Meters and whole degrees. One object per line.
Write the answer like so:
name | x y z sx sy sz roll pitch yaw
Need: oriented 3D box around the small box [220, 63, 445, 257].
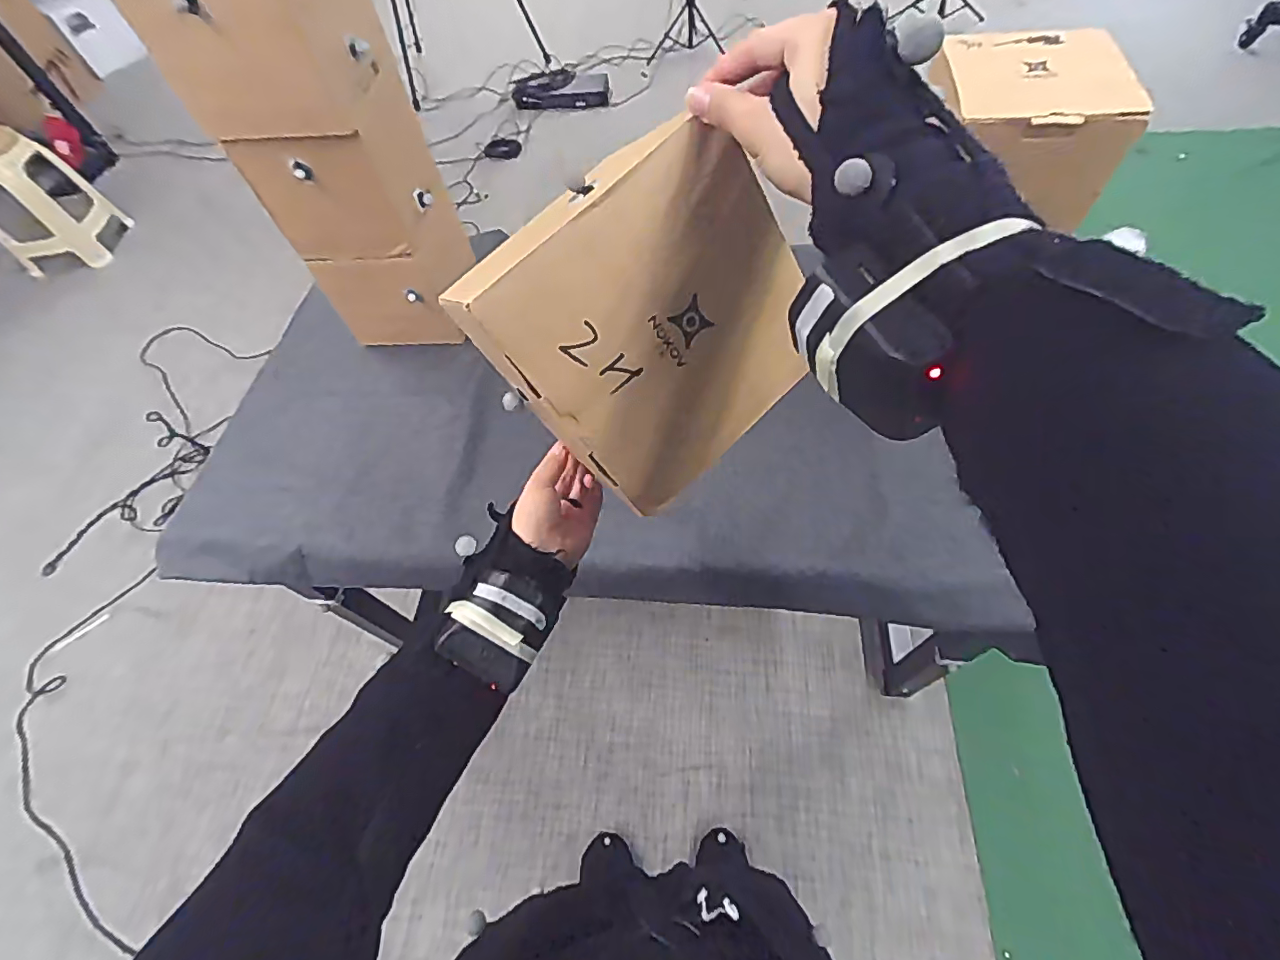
small box | -0.388 -0.417 0.720 0.179 0.176 0.168 0 61 3

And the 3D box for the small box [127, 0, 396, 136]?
small box | -0.398 -0.493 0.574 0.179 0.176 0.168 1 61 5

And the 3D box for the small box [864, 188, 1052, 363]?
small box | 0.422 -0.288 0.756 0.168 0.176 0.179 4 61 8

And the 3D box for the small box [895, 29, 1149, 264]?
small box | 0.404 -0.367 0.613 0.168 0.176 0.179 5 61 8

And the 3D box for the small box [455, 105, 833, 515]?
small box | -0.008 -0.113 0.382 0.179 0.168 0.176 -42 29 -5
